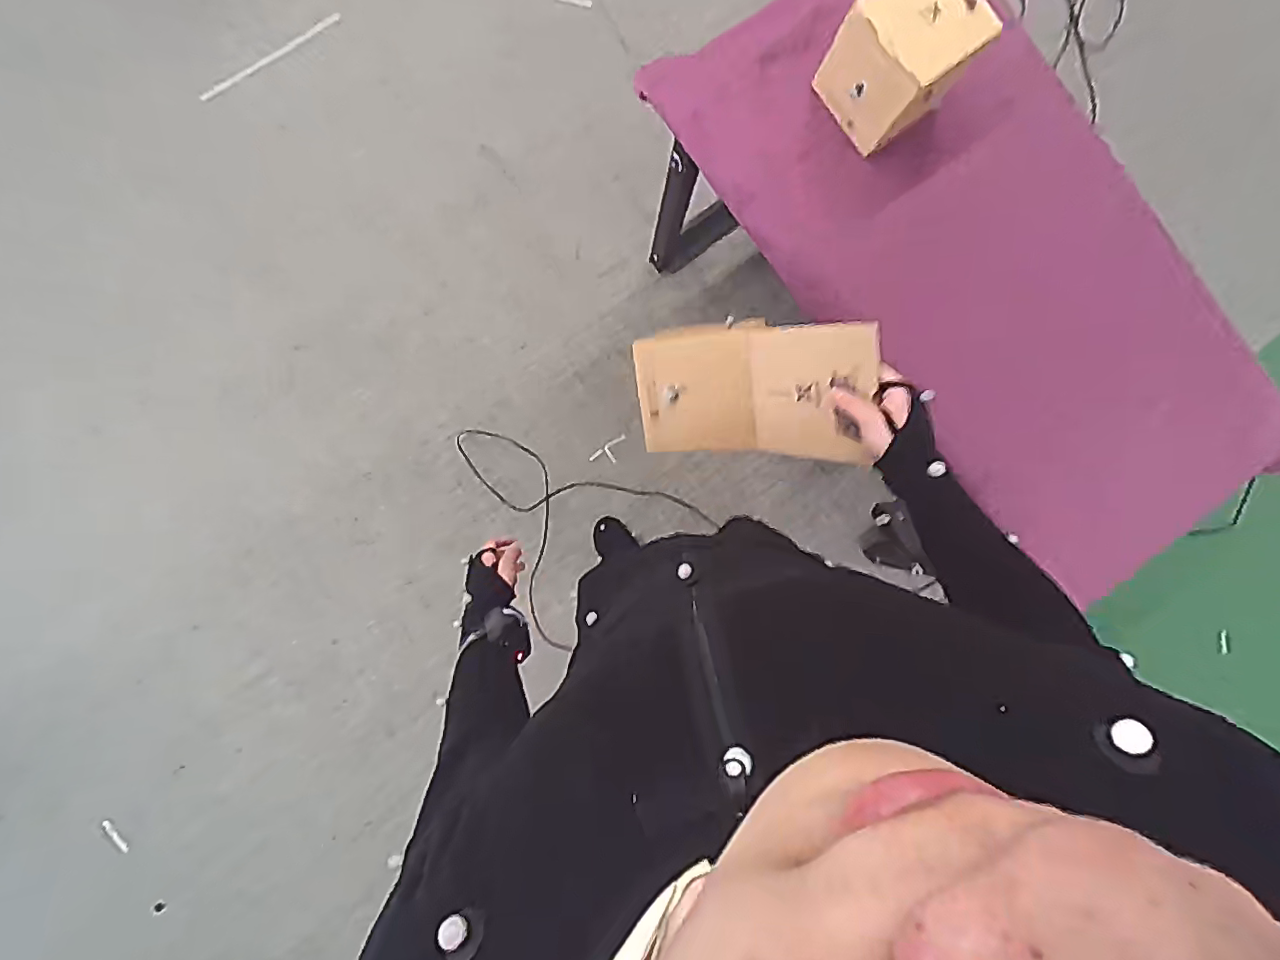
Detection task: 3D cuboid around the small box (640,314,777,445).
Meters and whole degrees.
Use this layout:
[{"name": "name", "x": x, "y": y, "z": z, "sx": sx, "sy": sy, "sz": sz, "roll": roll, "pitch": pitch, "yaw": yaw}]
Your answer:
[{"name": "small box", "x": 0.109, "y": -0.153, "z": 0.812, "sx": 0.176, "sy": 0.179, "sz": 0.168, "roll": 0, "pitch": 110, "yaw": 21}]

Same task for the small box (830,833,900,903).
[{"name": "small box", "x": 0.687, "y": 1.169, "z": 1.563, "sx": 0.168, "sy": 0.176, "sz": 0.179, "roll": -37, "pitch": 92, "yaw": -5}]

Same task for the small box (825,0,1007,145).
[{"name": "small box", "x": 0.429, "y": -0.699, "z": 0.881, "sx": 0.179, "sy": 0.176, "sz": 0.168, "roll": -38, "pitch": 92, "yaw": -4}]
